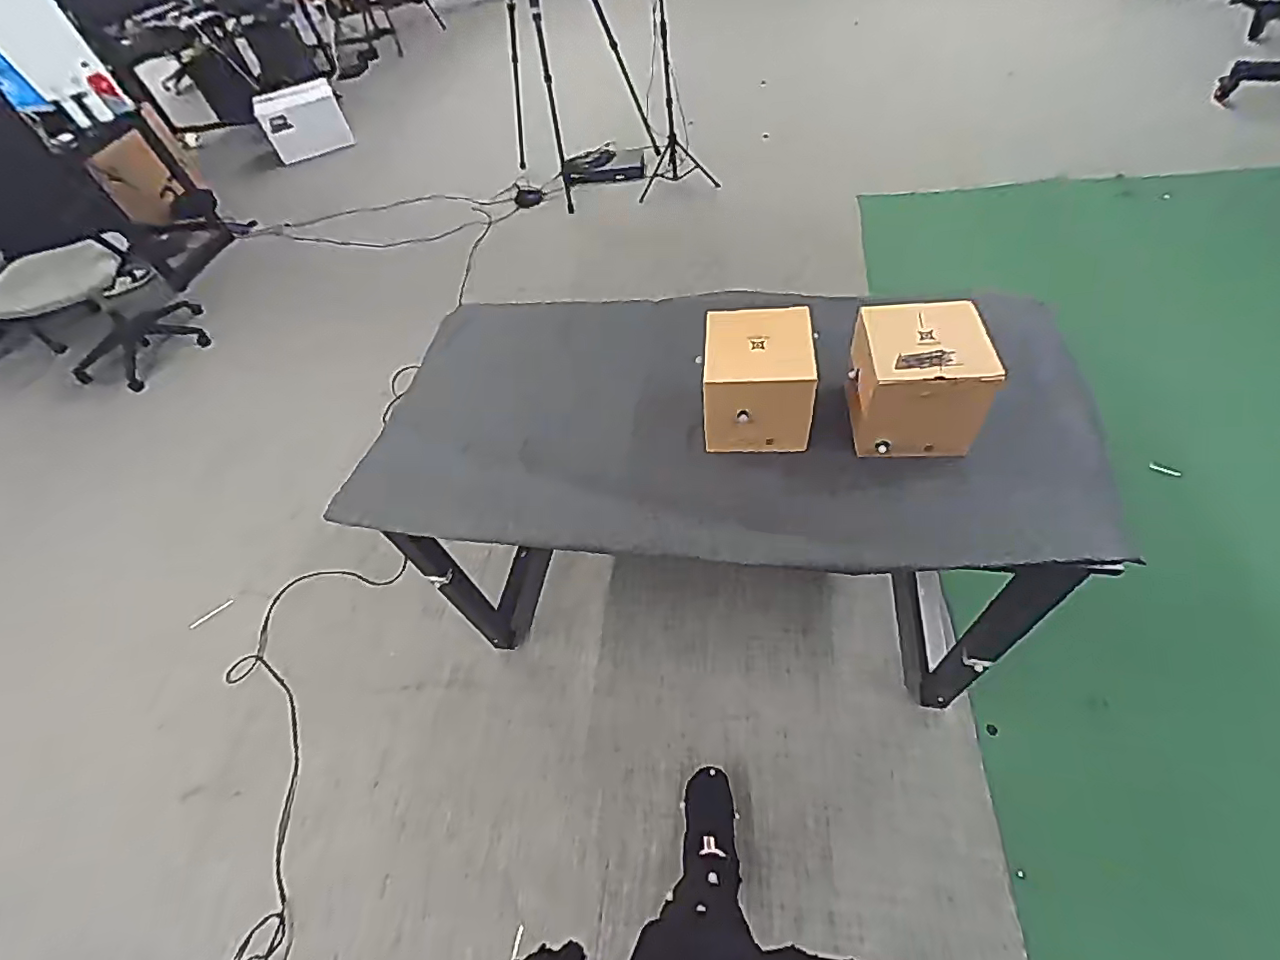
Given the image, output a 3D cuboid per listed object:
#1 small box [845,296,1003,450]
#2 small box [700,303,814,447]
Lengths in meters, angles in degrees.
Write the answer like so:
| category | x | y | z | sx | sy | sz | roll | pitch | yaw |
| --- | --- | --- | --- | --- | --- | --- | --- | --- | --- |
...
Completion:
| category | x | y | z | sx | sy | sz | roll | pitch | yaw |
| --- | --- | --- | --- | --- | --- | --- | --- | --- | --- |
| small box | 0.426 | -0.160 | 0.845 | 0.168 | 0.176 | 0.179 | 0 | 52 | 10 |
| small box | 0.191 | -0.167 | 0.895 | 0.168 | 0.176 | 0.179 | 0 | 53 | 10 |
